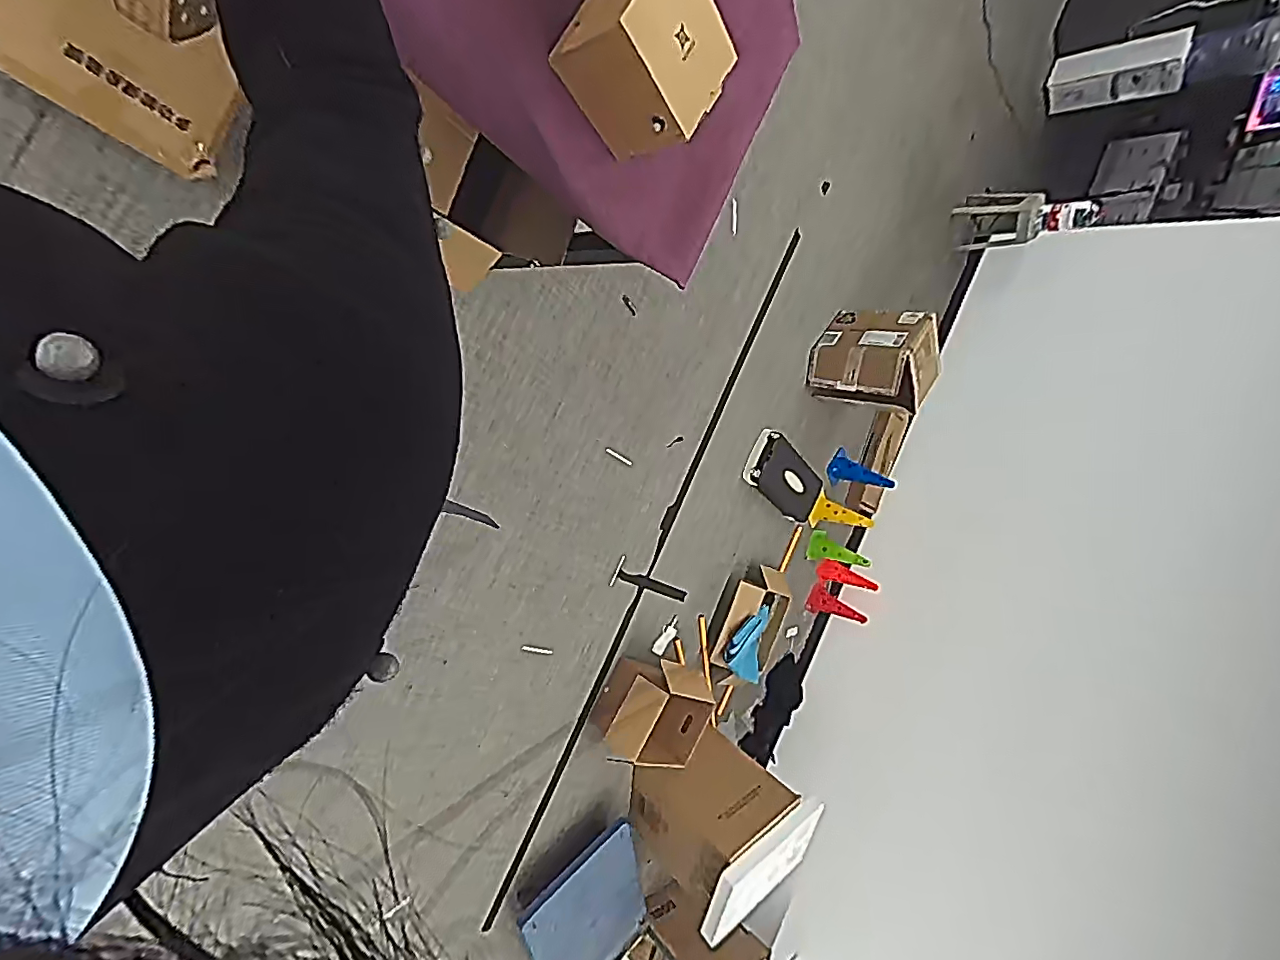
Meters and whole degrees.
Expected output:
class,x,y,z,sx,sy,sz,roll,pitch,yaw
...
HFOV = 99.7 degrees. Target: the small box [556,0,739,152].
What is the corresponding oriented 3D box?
class,x,y,z,sx,sy,sz,roll,pitch,yaw
small box,0.009,-0.619,0.792,0.179,0.176,0.168,37,78,-46
